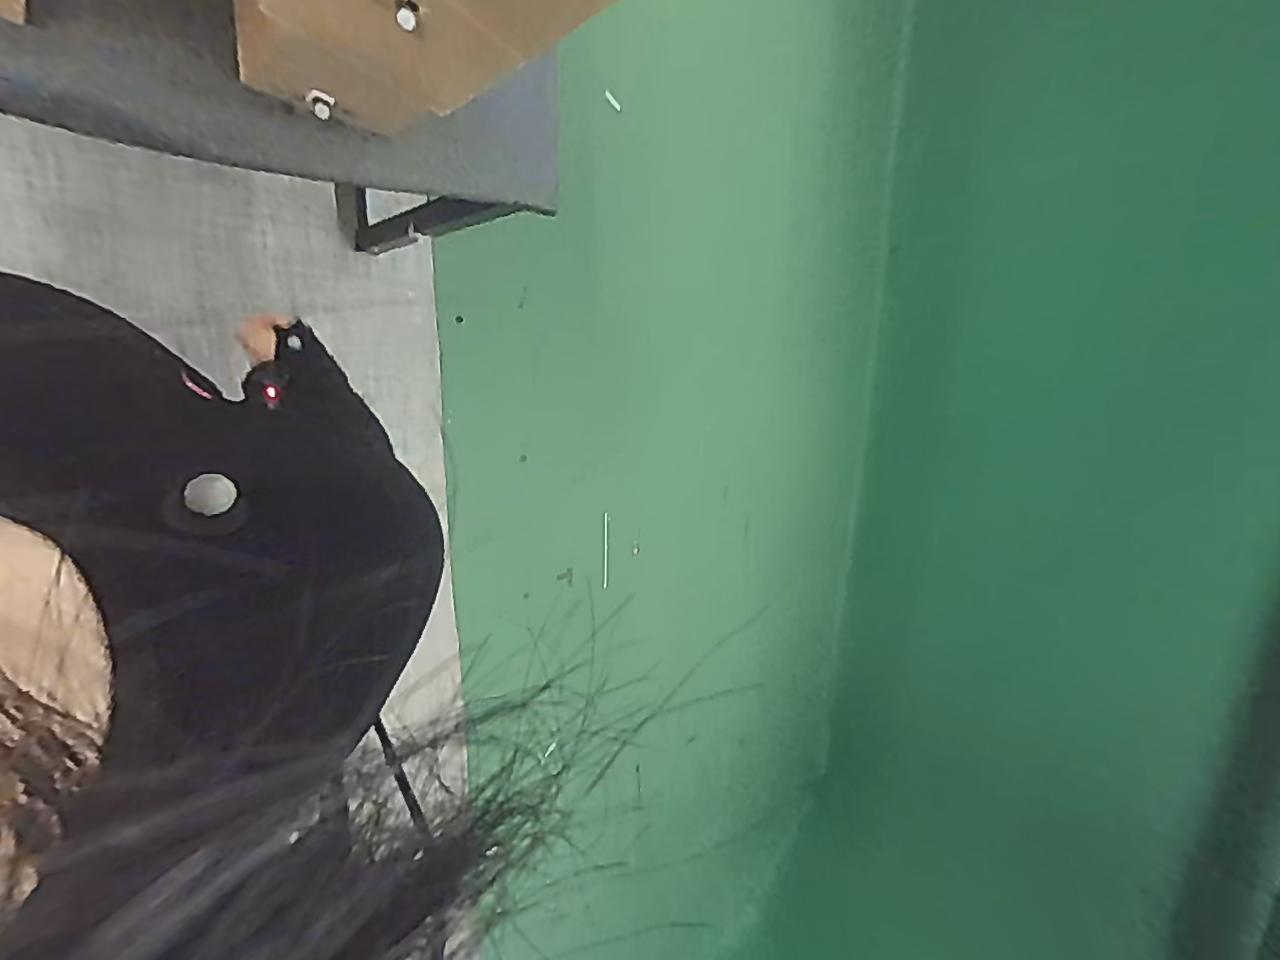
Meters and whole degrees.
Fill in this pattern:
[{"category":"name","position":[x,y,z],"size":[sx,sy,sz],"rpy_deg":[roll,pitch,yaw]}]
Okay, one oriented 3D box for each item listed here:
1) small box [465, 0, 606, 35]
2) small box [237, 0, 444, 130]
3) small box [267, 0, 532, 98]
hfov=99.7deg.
[{"category":"small box","position":[-0.082,-0.452,0.361],"size":[0.179,0.176,0.168],"rpy_deg":[8,93,-46]},{"category":"small box","position":[-0.318,-0.515,0.578],"size":[0.168,0.176,0.179],"rpy_deg":[-10,107,-45]},{"category":"small box","position":[-0.202,-0.475,0.472],"size":[0.179,0.176,0.168],"rpy_deg":[6,95,-46]}]
